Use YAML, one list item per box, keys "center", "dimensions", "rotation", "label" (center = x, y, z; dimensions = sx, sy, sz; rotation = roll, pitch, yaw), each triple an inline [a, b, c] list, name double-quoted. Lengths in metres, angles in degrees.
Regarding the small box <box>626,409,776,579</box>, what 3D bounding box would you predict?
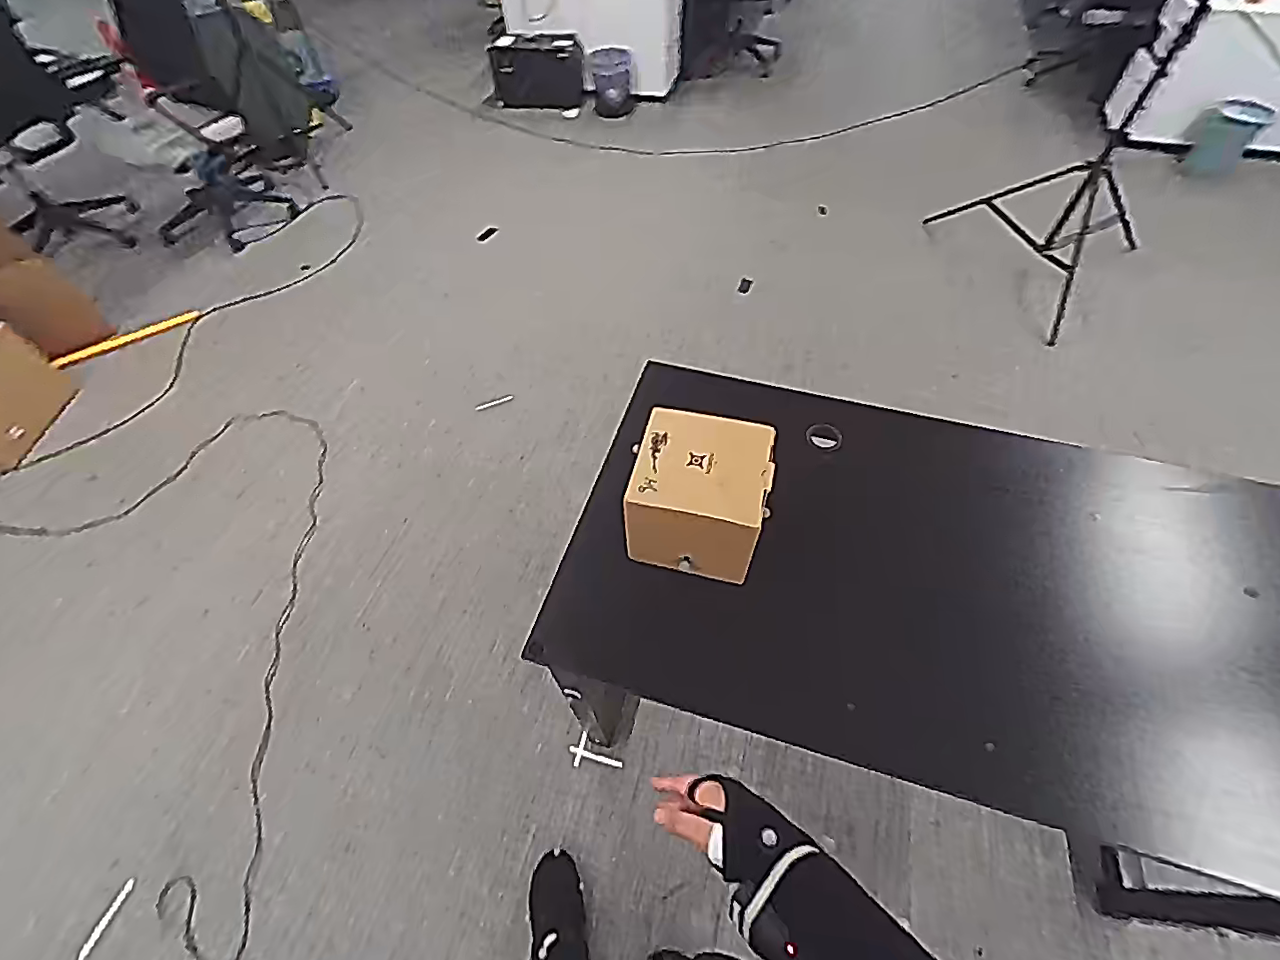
- center: [0.085, 0.026, 0.785]
  dimensions: [0.179, 0.176, 0.168]
  rotation: [12, 56, 8]
  label: "small box"
